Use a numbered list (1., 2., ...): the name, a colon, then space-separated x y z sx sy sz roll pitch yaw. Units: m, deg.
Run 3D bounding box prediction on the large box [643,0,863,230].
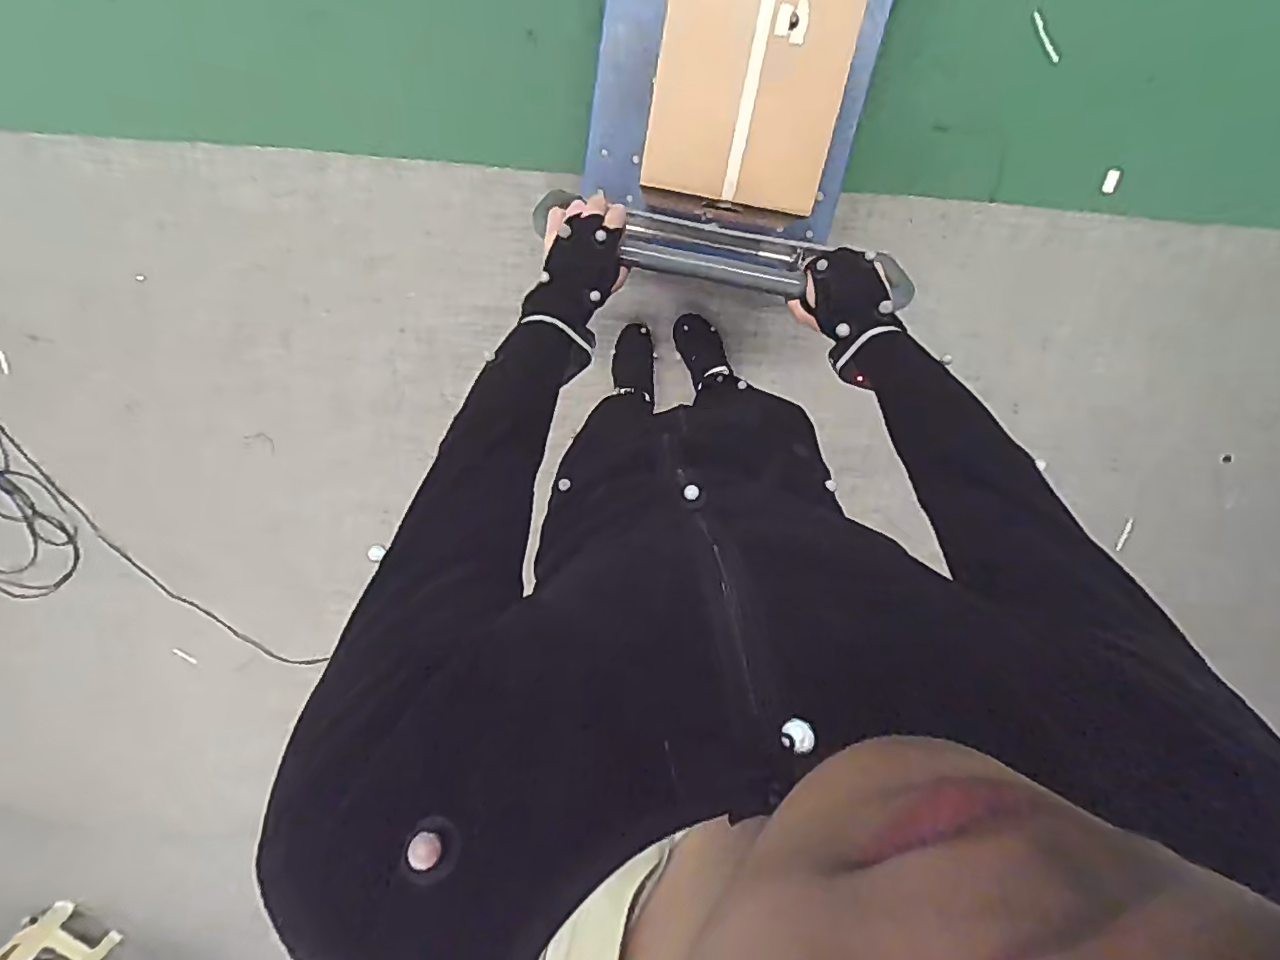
1. large box: 0.194 -0.732 1.042 0.320 0.320 0.408 10 111 -1
